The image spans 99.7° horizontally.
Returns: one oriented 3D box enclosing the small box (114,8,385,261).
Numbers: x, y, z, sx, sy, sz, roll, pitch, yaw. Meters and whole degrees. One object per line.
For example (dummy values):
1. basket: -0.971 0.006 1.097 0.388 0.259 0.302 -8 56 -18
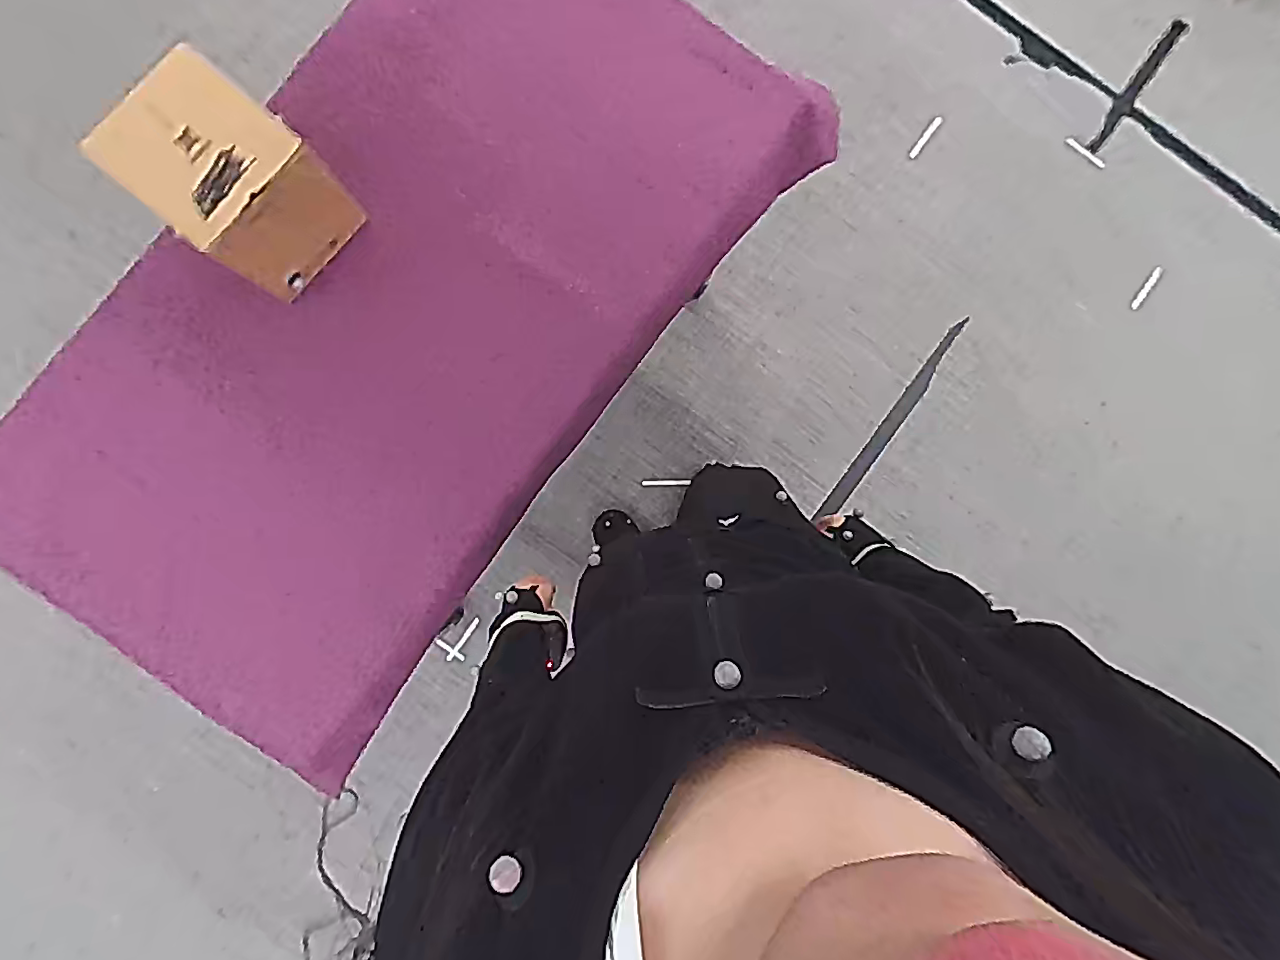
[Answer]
1. small box: -0.460 -0.404 0.674 0.179 0.176 0.168 43 86 -2
